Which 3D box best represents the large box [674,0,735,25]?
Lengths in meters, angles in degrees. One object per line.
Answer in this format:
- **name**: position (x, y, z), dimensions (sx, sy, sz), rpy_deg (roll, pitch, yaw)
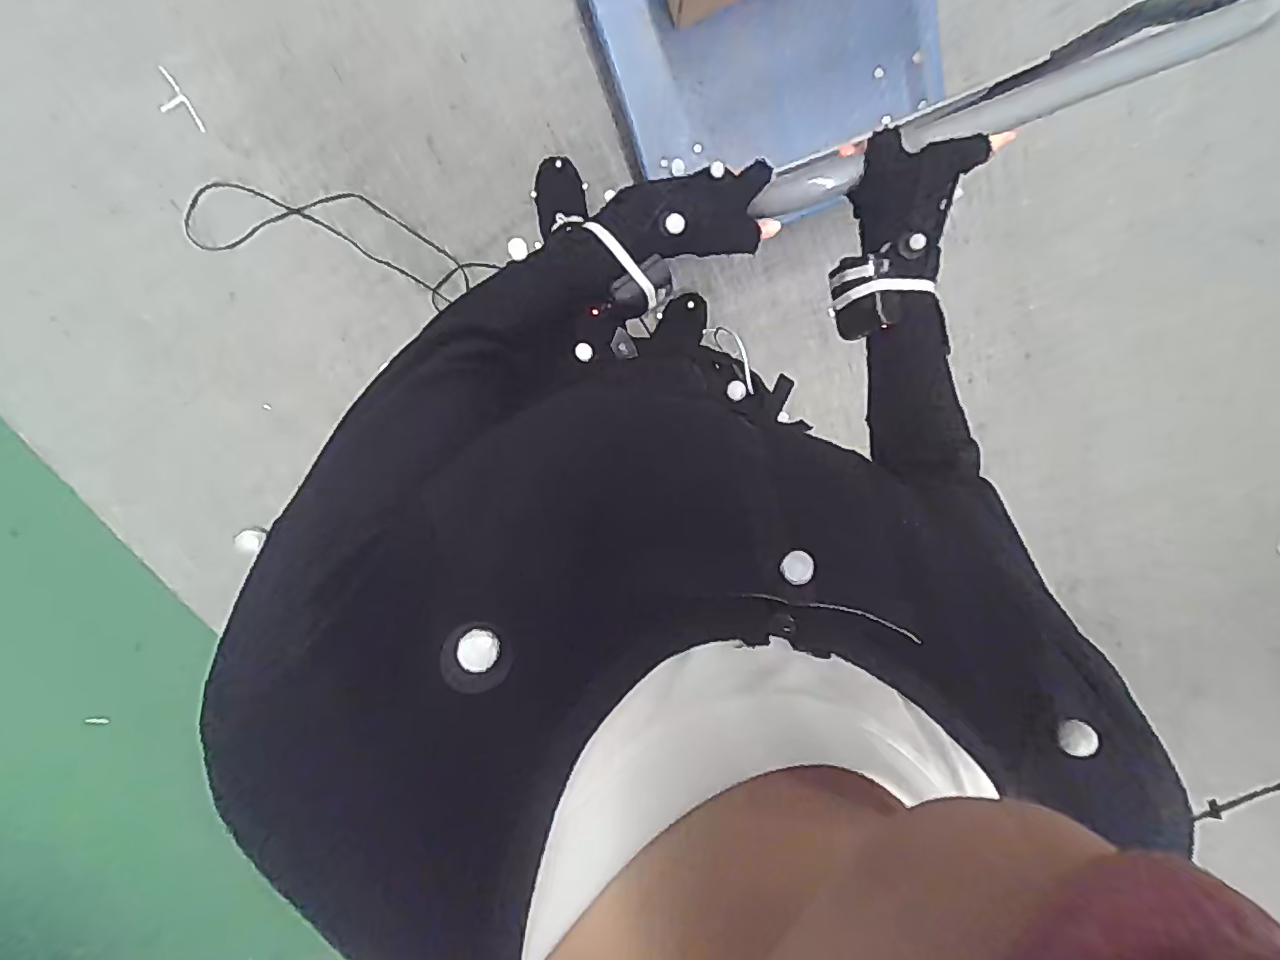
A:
- **large box**: position (0.198, -0.952, 0.757), dimensions (0.408, 0.320, 0.320), rpy_deg (-21, 113, 11)
